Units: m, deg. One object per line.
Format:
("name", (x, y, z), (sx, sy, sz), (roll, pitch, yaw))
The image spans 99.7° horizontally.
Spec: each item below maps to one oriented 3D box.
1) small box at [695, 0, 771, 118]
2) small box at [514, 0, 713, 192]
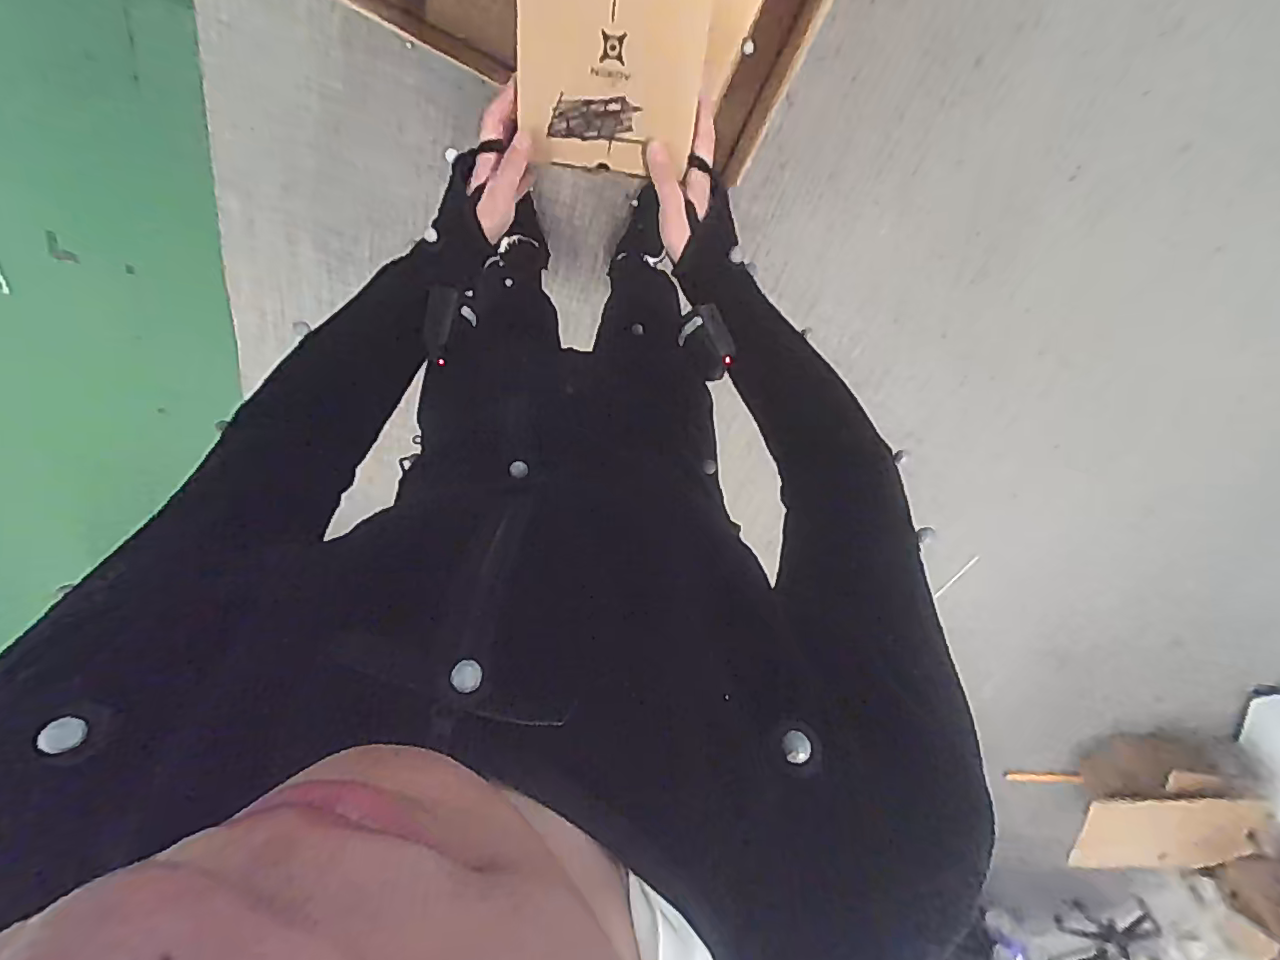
("small box", (0.068, -0.621, 0.718), (0.168, 0.176, 0.179), (24, 125, -12))
("small box", (-0.026, -0.403, 0.538), (0.168, 0.176, 0.179), (6, 122, -3))
